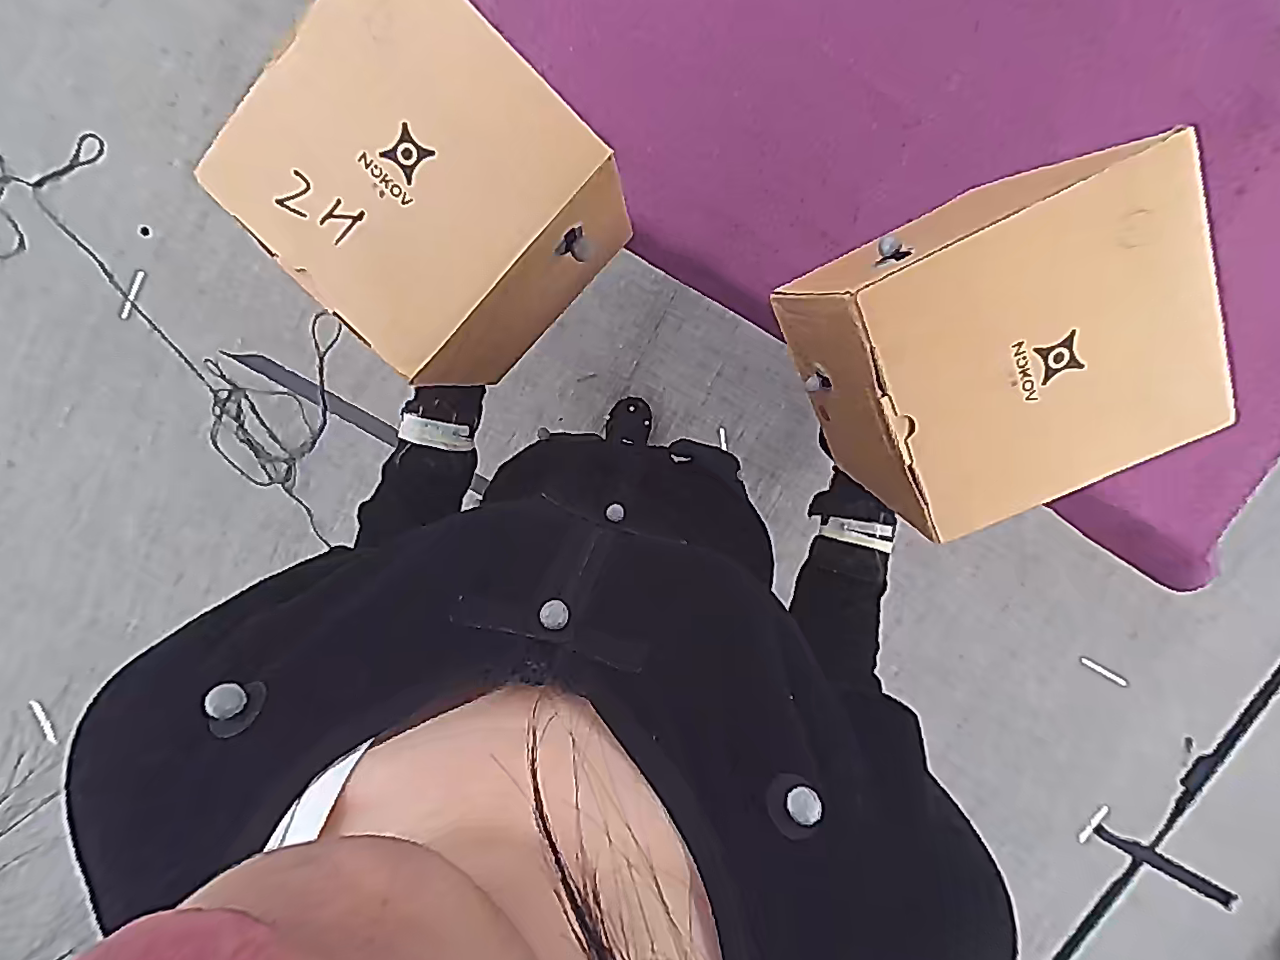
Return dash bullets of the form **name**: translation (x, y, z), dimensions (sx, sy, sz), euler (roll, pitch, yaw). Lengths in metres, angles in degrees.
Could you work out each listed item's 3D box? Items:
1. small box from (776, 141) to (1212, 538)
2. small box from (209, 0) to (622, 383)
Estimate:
- **small box**: translation (0.221, -0.094, 0.377), dimensions (0.179, 0.176, 0.168), euler (-25, 108, 7)
- **small box**: translation (-0.126, -0.188, 0.379), dimensions (0.168, 0.176, 0.179), euler (44, 100, -4)
